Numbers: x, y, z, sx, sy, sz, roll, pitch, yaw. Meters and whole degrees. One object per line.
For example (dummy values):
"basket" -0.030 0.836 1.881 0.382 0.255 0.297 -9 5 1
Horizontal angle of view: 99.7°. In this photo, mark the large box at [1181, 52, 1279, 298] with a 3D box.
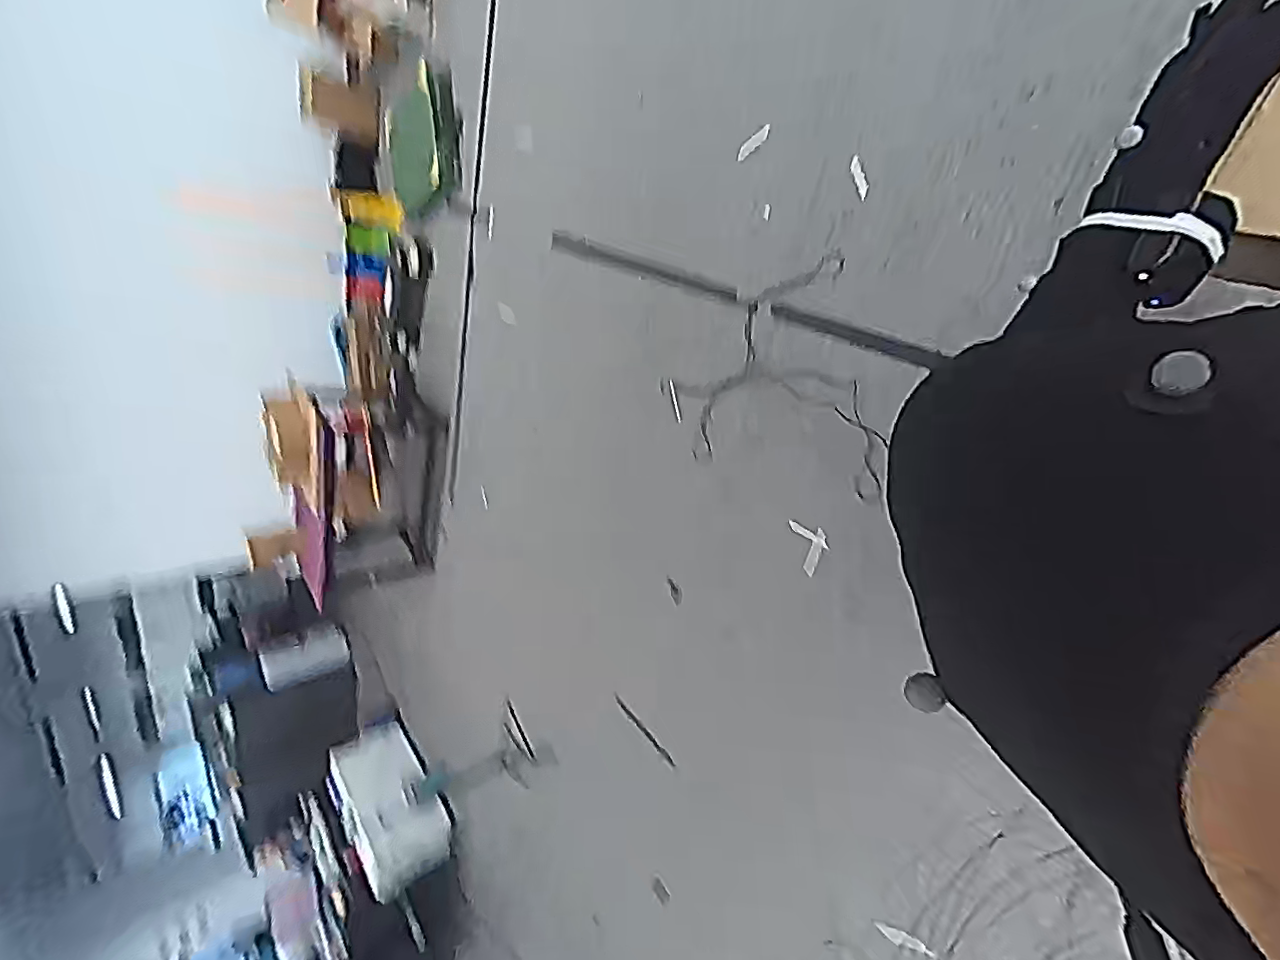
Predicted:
"large box" 0.693 -0.264 0.352 0.408 0.320 0.320 34 122 36
